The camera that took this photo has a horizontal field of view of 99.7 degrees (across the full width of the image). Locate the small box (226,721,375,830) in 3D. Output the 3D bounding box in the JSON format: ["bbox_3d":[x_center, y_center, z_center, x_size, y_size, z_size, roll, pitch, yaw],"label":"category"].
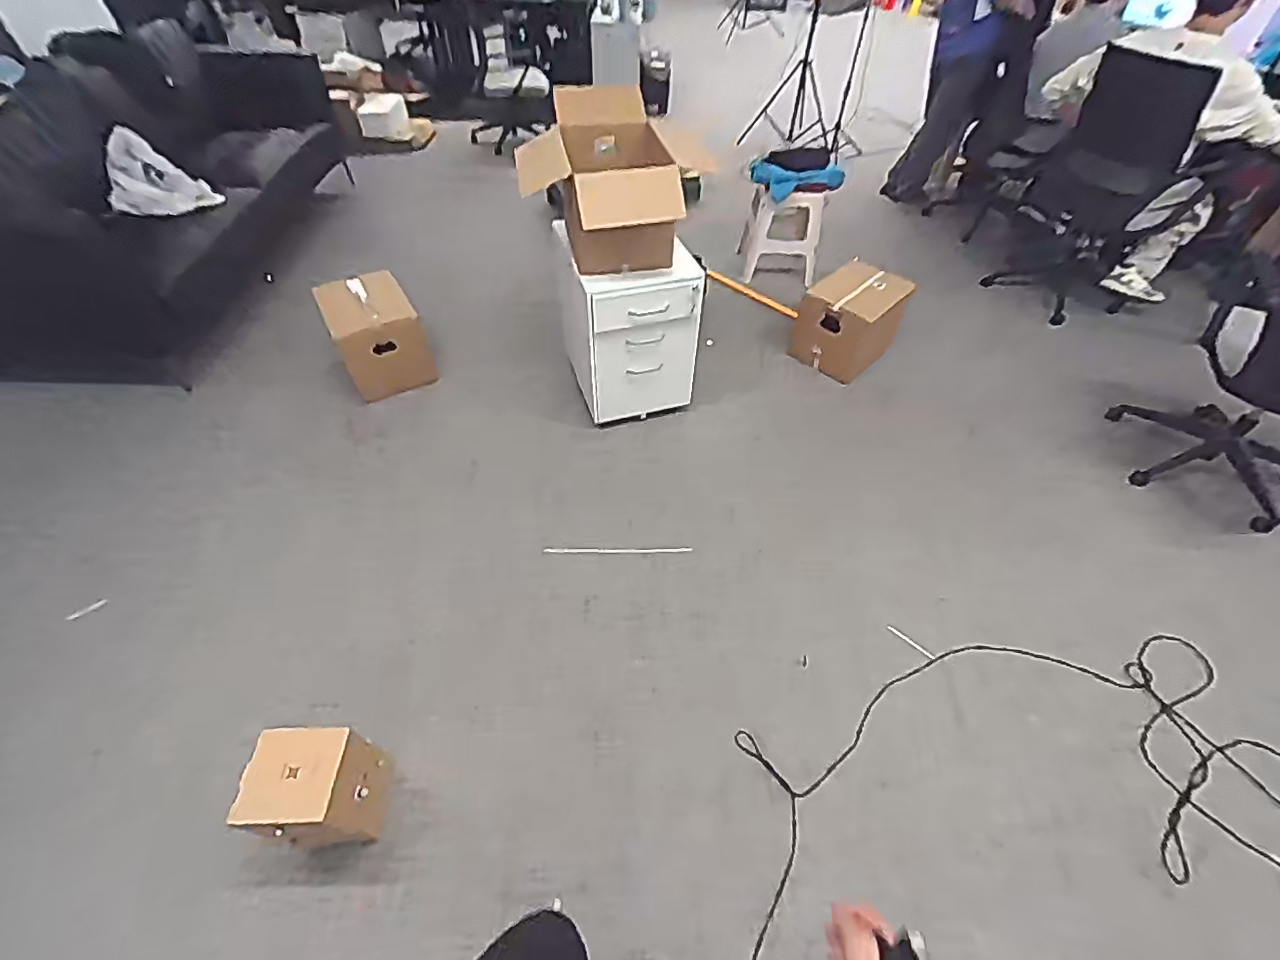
[{"bbox_3d":[-0.671,0.600,1.094,0.179,0.176,0.168,0,50,-3],"label":"small box"}]
